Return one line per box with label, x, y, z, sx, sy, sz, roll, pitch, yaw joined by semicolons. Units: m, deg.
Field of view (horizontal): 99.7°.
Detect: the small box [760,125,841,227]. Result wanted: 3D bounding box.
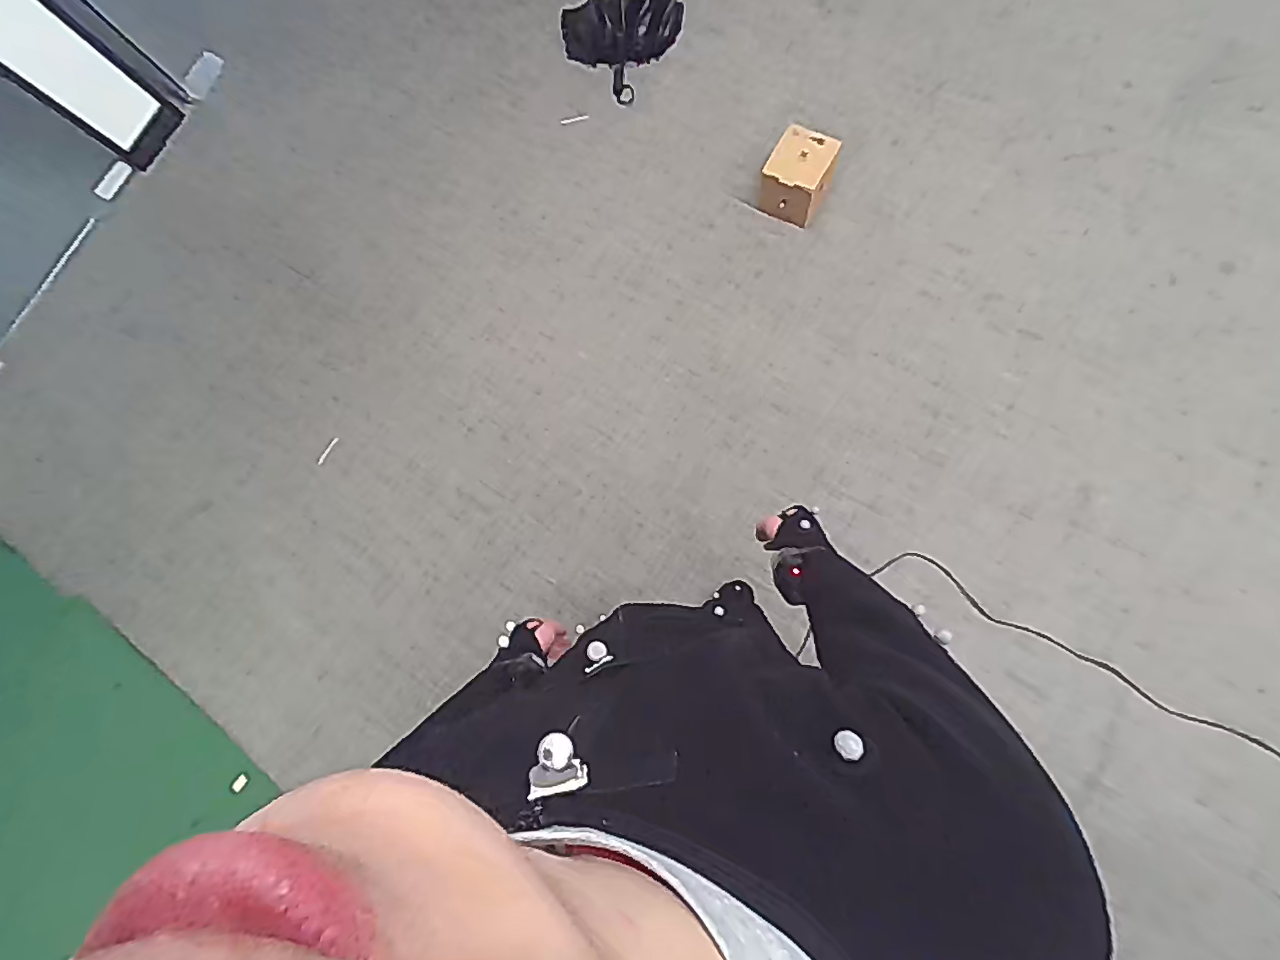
small box;0.471;-0.897;1.610;0.168;0.176;0.179;30;86;13
